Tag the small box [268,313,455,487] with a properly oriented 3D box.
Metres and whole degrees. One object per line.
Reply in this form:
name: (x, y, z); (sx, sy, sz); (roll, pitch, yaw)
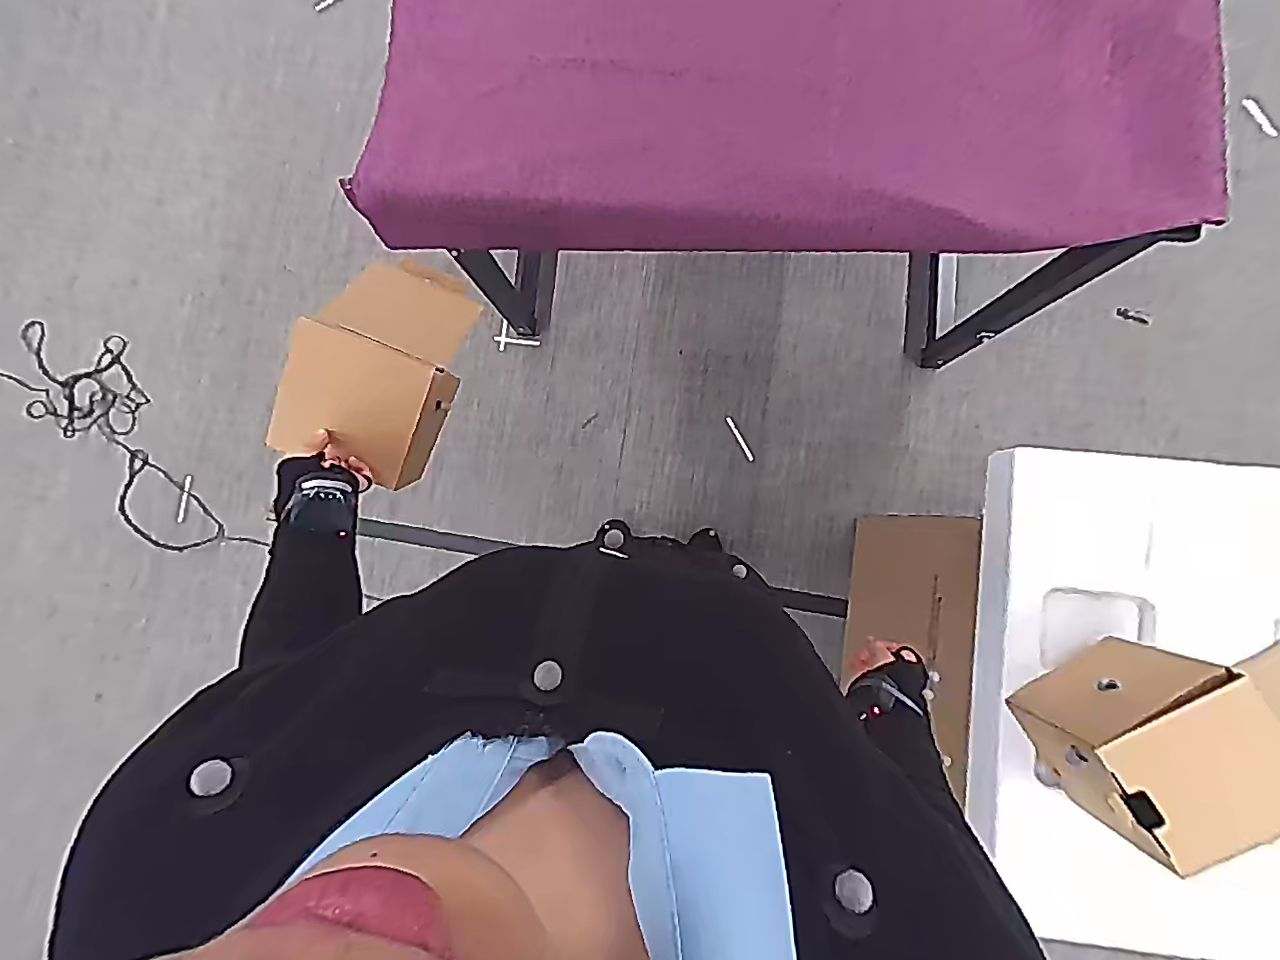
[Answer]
small box: (-0.376, -0.108, 0.768); (0.168, 0.176, 0.179); (23, 92, -12)
